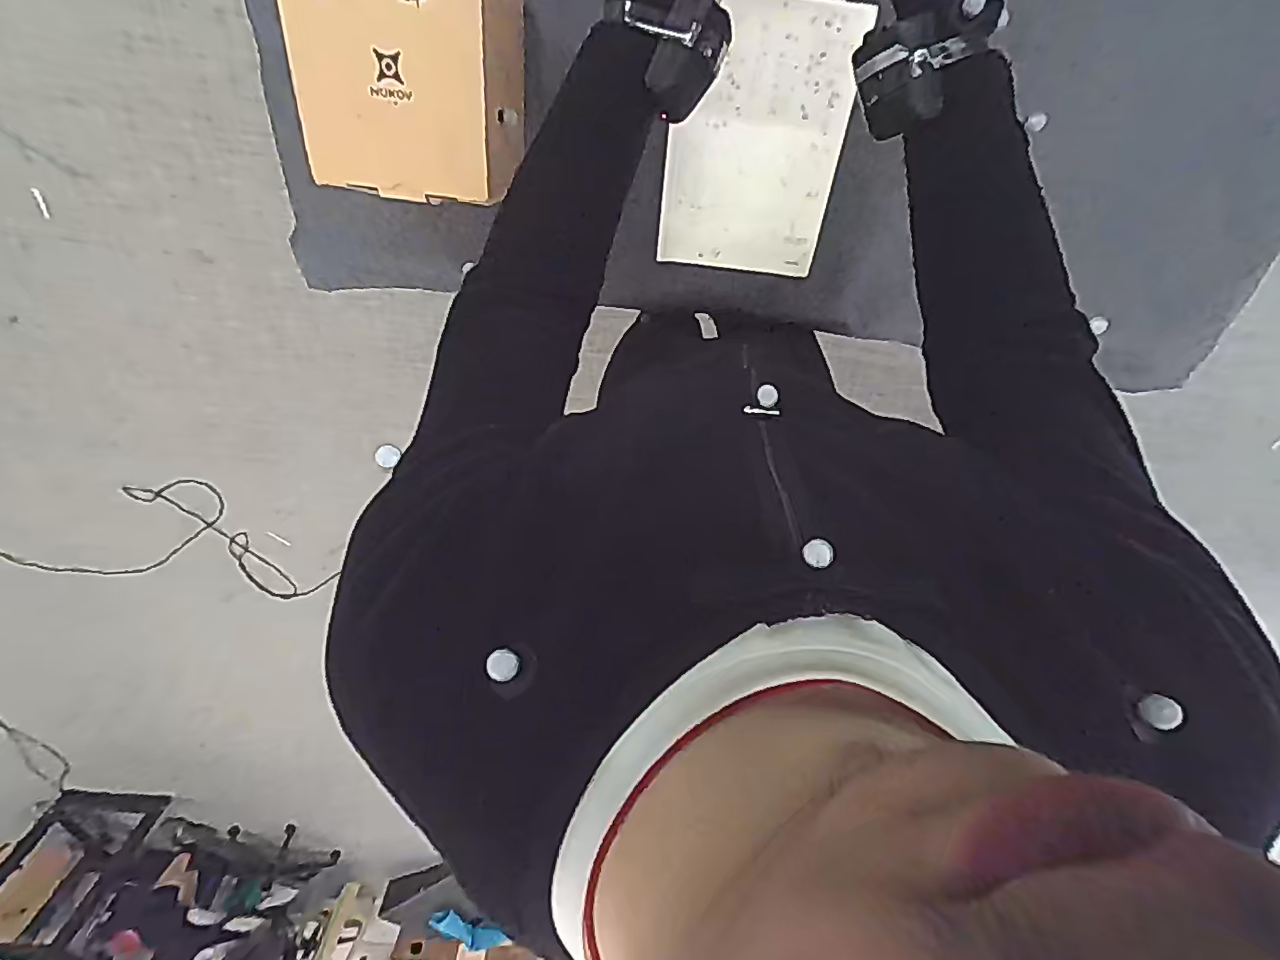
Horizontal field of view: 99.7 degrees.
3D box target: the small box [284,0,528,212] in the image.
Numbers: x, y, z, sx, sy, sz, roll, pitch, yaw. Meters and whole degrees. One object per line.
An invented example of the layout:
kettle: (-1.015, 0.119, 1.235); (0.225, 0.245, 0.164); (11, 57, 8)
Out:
small box: (-0.208, -0.381, 0.532); (0.168, 0.176, 0.179); (7, 123, -2)
